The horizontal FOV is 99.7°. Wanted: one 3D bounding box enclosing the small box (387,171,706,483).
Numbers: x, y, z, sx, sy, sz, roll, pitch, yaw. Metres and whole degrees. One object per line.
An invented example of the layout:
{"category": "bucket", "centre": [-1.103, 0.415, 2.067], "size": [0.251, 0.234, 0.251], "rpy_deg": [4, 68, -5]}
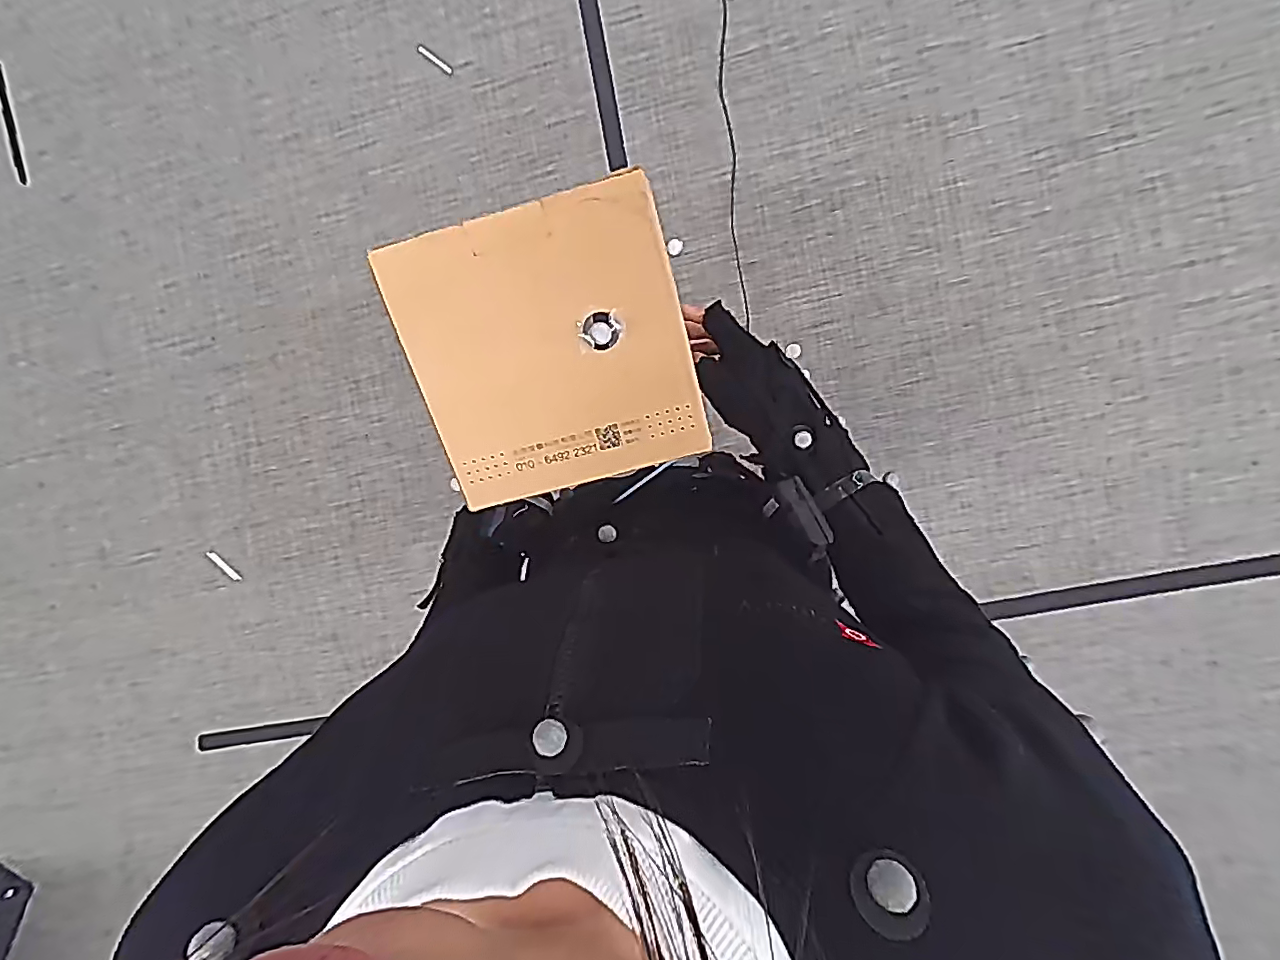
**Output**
{"category": "small box", "centre": [-0.050, -0.108, 0.416], "size": [0.168, 0.179, 0.176], "rpy_deg": [-13, 109, 7]}
